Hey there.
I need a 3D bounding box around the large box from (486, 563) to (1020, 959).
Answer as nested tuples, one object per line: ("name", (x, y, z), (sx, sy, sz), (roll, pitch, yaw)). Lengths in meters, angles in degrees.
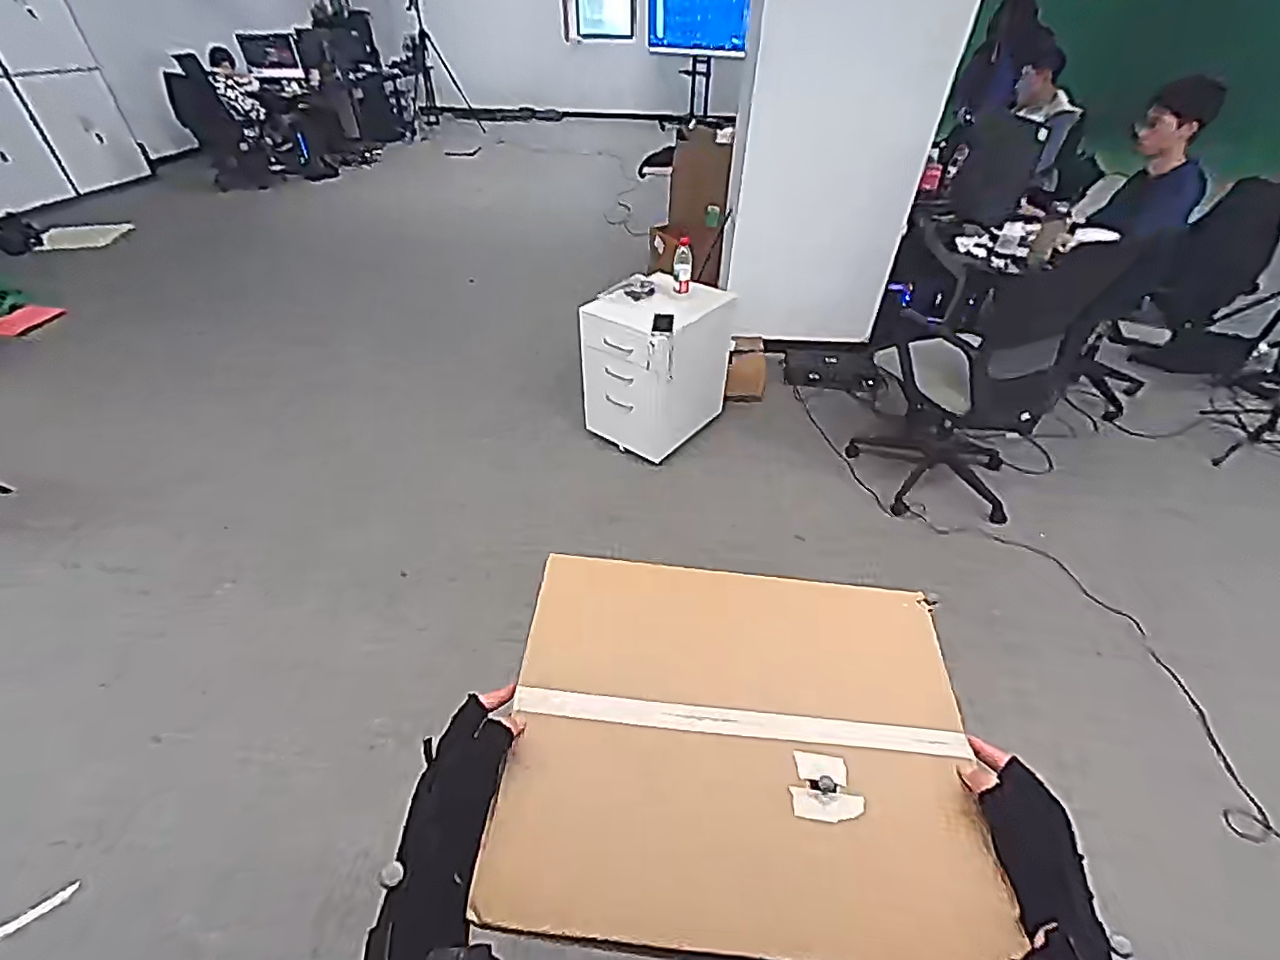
("large box", (0.082, 0.319, 0.602), (0.408, 0.320, 0.320), (6, 49, 1))
